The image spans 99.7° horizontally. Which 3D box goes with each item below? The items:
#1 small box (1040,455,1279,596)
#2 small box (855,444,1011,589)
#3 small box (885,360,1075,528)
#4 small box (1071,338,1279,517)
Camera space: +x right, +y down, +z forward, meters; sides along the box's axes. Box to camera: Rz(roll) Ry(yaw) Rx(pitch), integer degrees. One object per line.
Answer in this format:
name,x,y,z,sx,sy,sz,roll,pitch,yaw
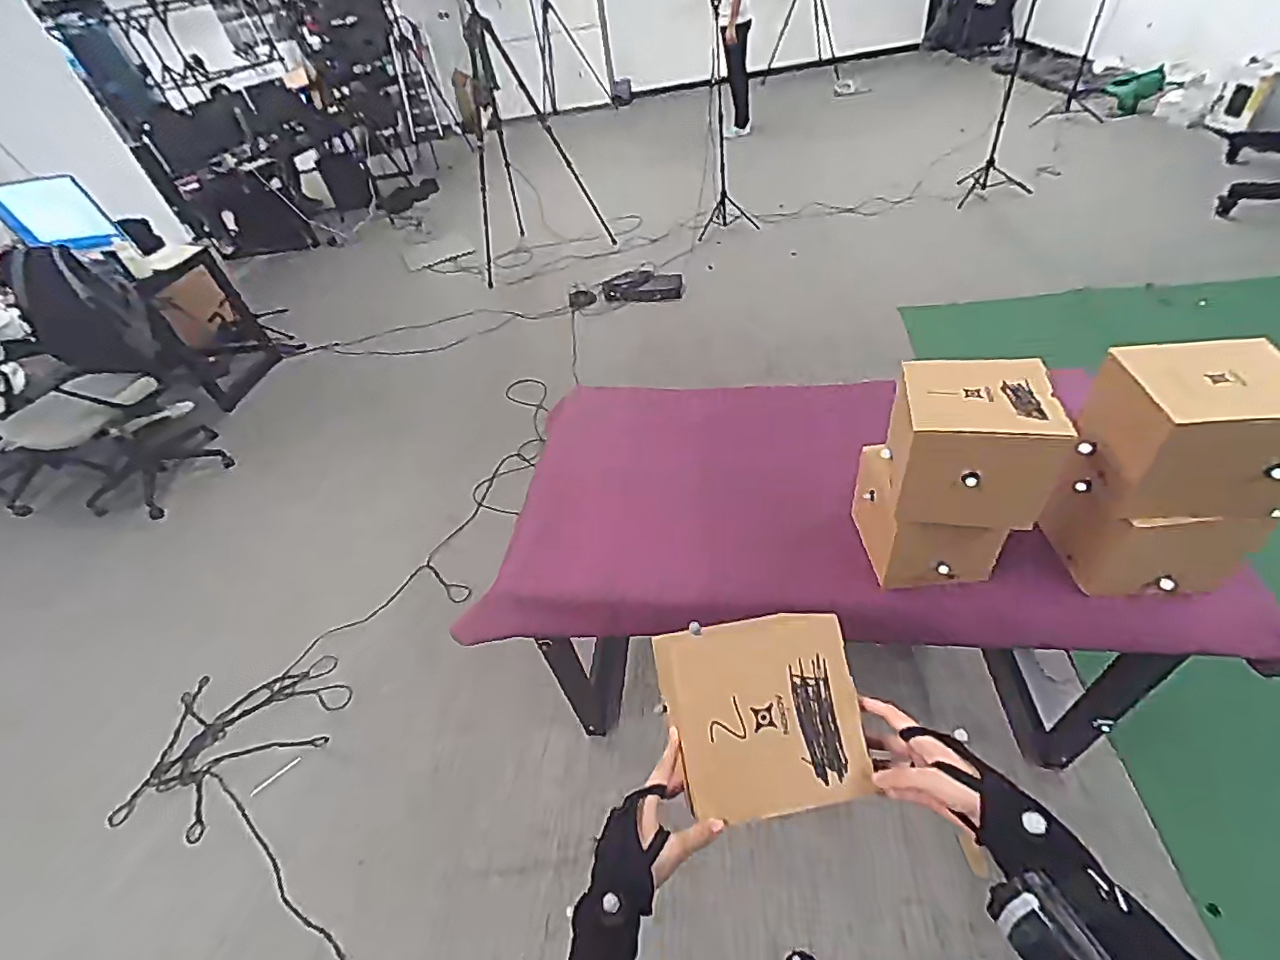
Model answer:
small box,0.752,0.057,0.808,0.179,0.176,0.168,-5,43,8
small box,0.463,0.053,0.881,0.168,0.176,0.179,-7,43,7
small box,0.450,-0.049,0.750,0.179,0.176,0.168,3,44,18
small box,0.714,-0.064,0.704,0.179,0.176,0.168,-2,44,13
